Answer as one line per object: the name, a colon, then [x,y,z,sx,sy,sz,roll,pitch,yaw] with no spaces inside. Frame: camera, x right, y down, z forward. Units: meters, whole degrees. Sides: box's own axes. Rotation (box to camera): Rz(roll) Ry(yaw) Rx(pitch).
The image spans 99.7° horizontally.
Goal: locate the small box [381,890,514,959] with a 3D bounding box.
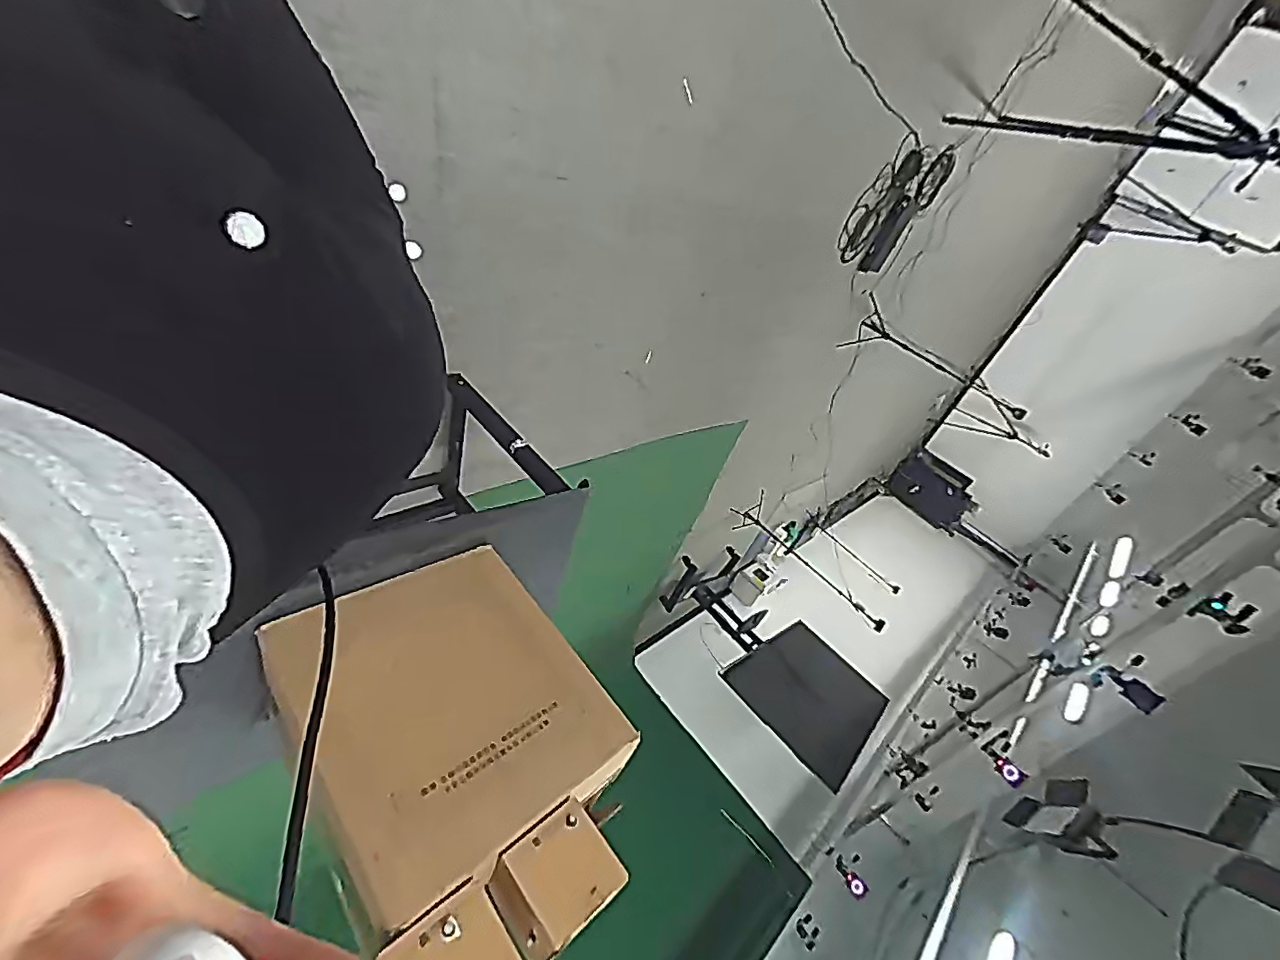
small box: [-0.299,0.791,0.839,0.168,0.176,0.179,-19,141,-44]
